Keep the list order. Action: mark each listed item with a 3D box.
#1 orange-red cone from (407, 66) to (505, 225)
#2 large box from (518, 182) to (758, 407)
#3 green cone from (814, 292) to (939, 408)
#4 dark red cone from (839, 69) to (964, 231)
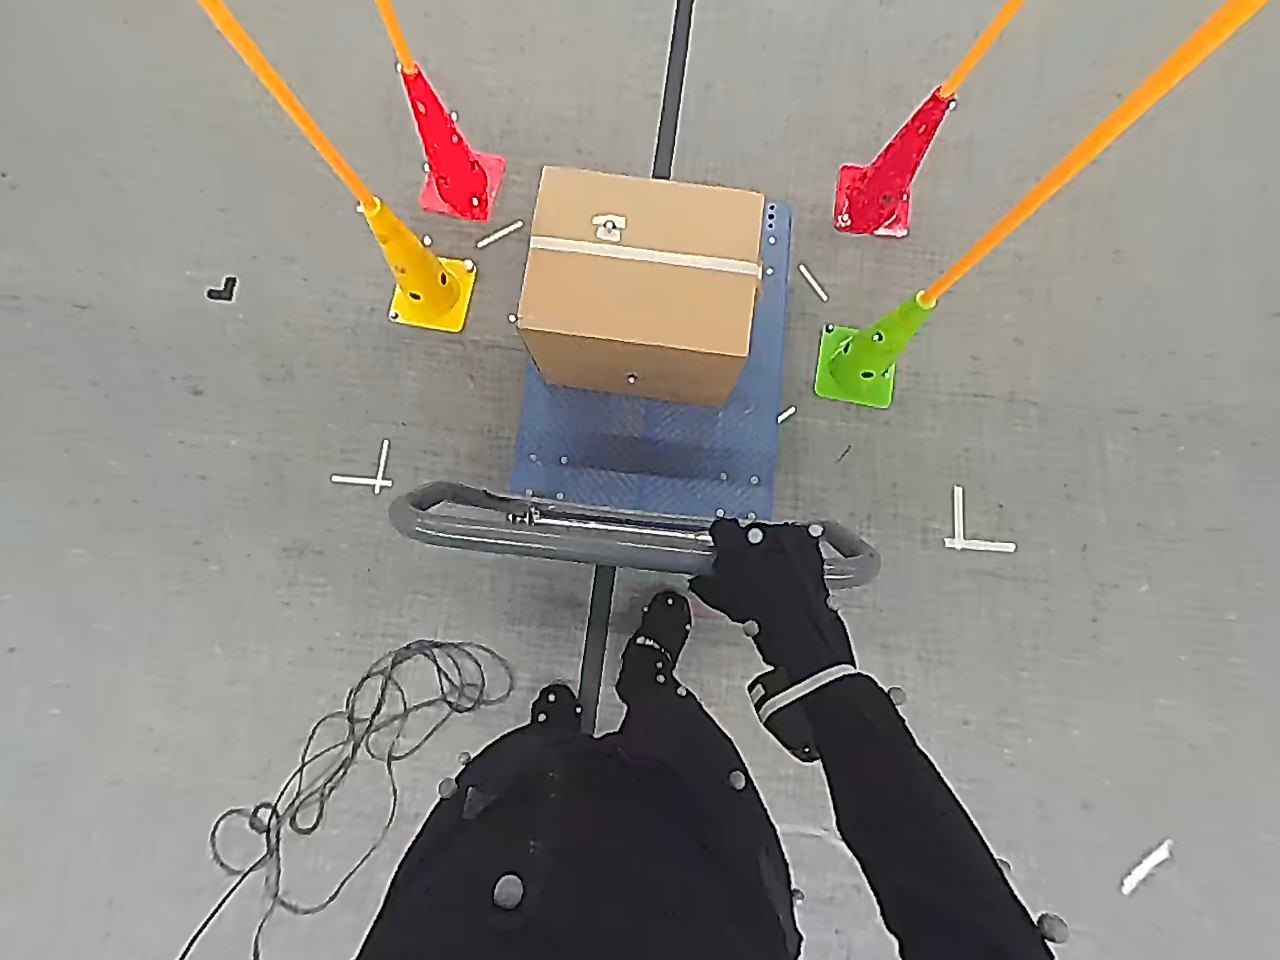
[{"bbox_3d":[-0.488,-0.845,1.335,0.198,0.360,0.199,14,80,1],"label":"orange-red cone"},{"bbox_3d":[0.005,-0.353,1.108,0.408,0.320,0.320,8,81,2],"label":"large box"},{"bbox_3d":[0.566,-0.324,1.247,0.202,0.368,0.200,11,81,1],"label":"green cone"},{"bbox_3d":[0.645,-0.800,1.307,0.201,0.394,0.202,7,81,-1],"label":"dark red cone"}]
